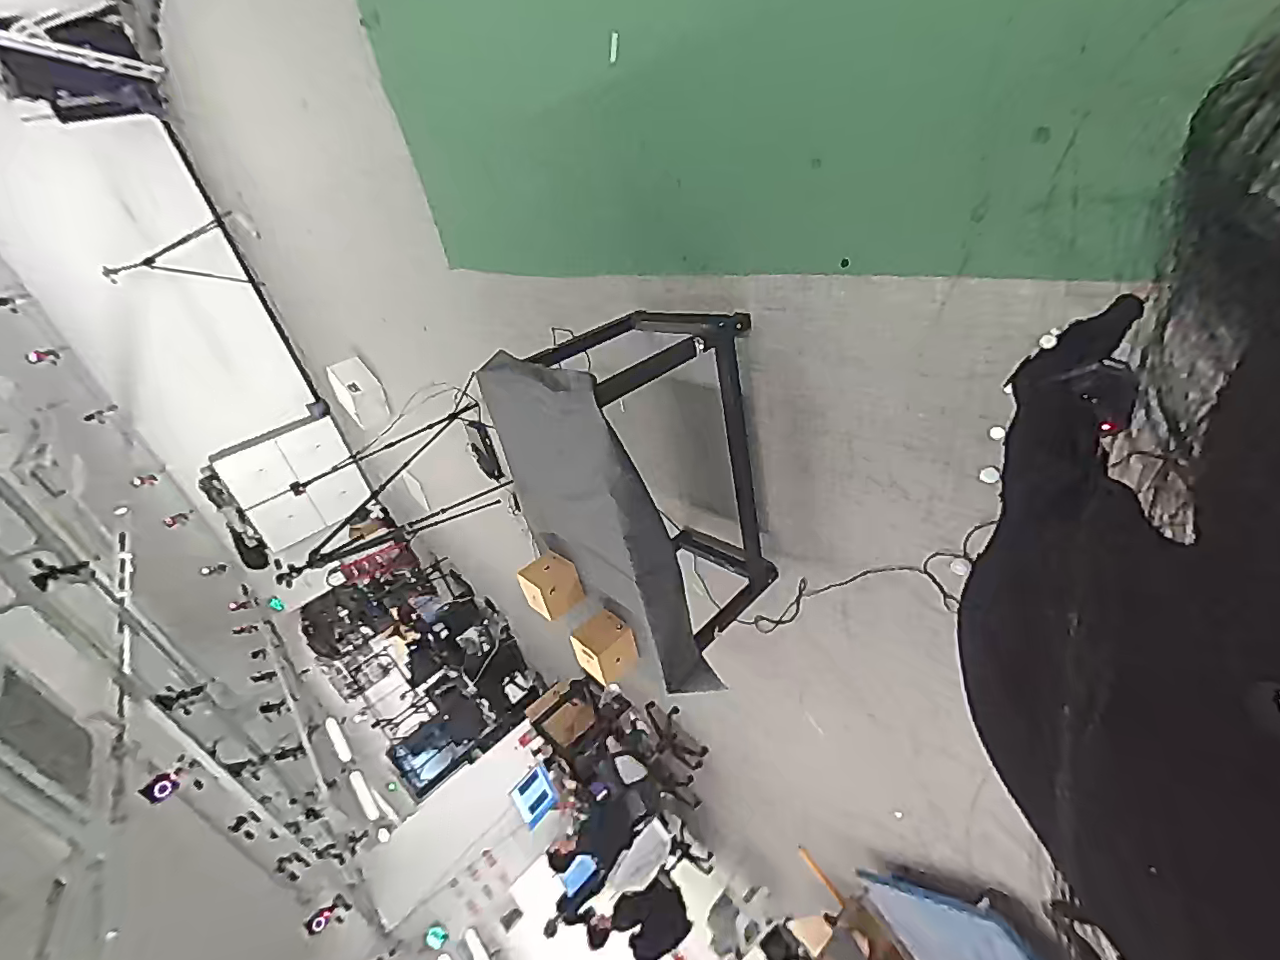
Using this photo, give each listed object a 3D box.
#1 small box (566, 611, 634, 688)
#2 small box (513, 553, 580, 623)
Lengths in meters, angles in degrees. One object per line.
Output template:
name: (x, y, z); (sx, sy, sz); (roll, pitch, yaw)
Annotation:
small box: (-0.144, 0.616, 1.991); (0.168, 0.176, 0.179); (24, 136, 42)
small box: (-0.358, 0.410, 2.092); (0.168, 0.176, 0.179); (20, 134, 43)
